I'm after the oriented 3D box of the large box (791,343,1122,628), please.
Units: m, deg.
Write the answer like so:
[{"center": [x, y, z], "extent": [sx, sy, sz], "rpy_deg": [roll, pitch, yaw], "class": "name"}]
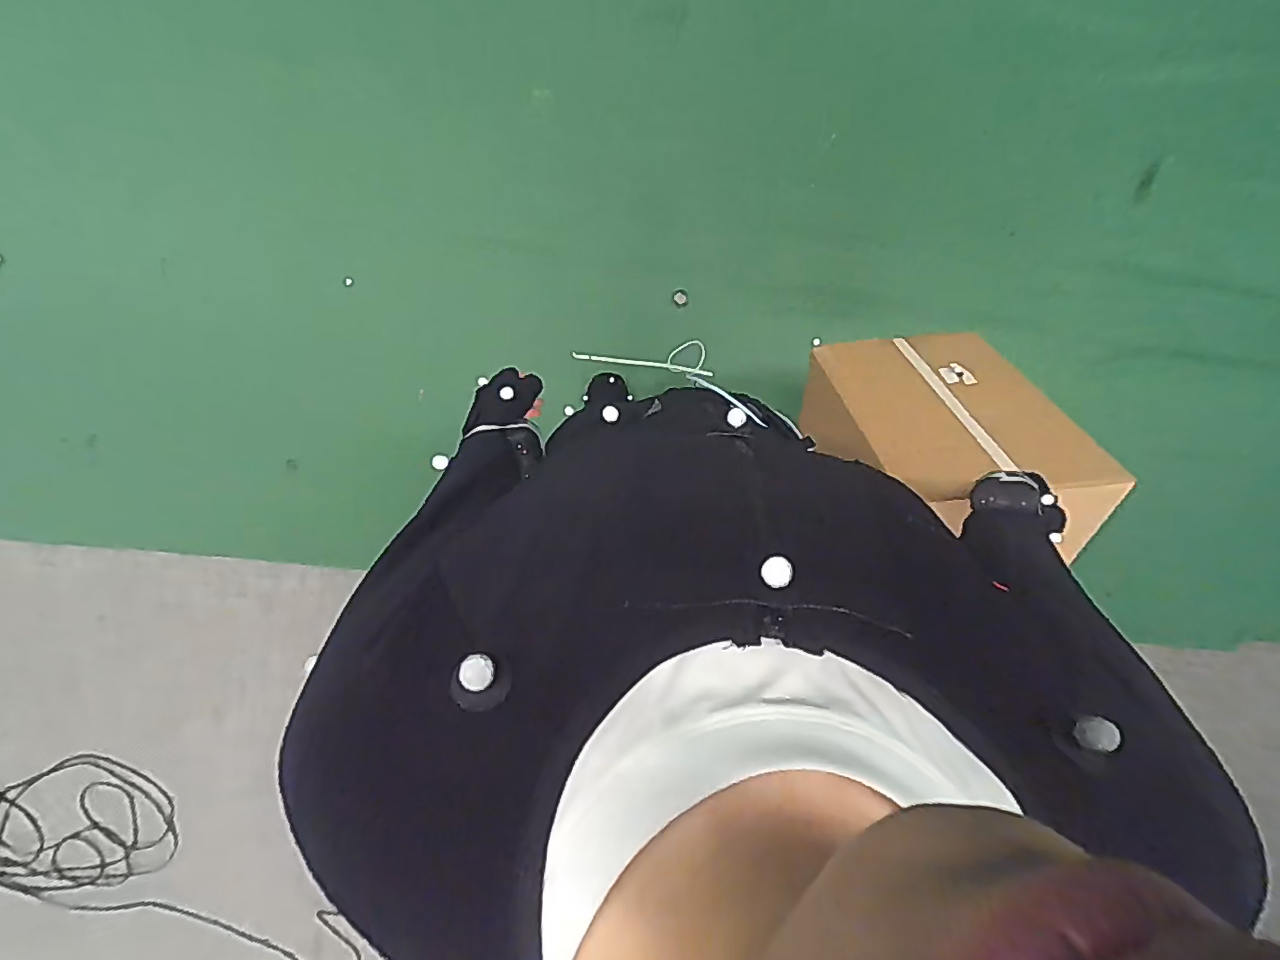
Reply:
[{"center": [0.492, -0.001, 0.966], "extent": [0.320, 0.408, 0.320], "rpy_deg": [-5, 132, -2], "class": "large box"}]
